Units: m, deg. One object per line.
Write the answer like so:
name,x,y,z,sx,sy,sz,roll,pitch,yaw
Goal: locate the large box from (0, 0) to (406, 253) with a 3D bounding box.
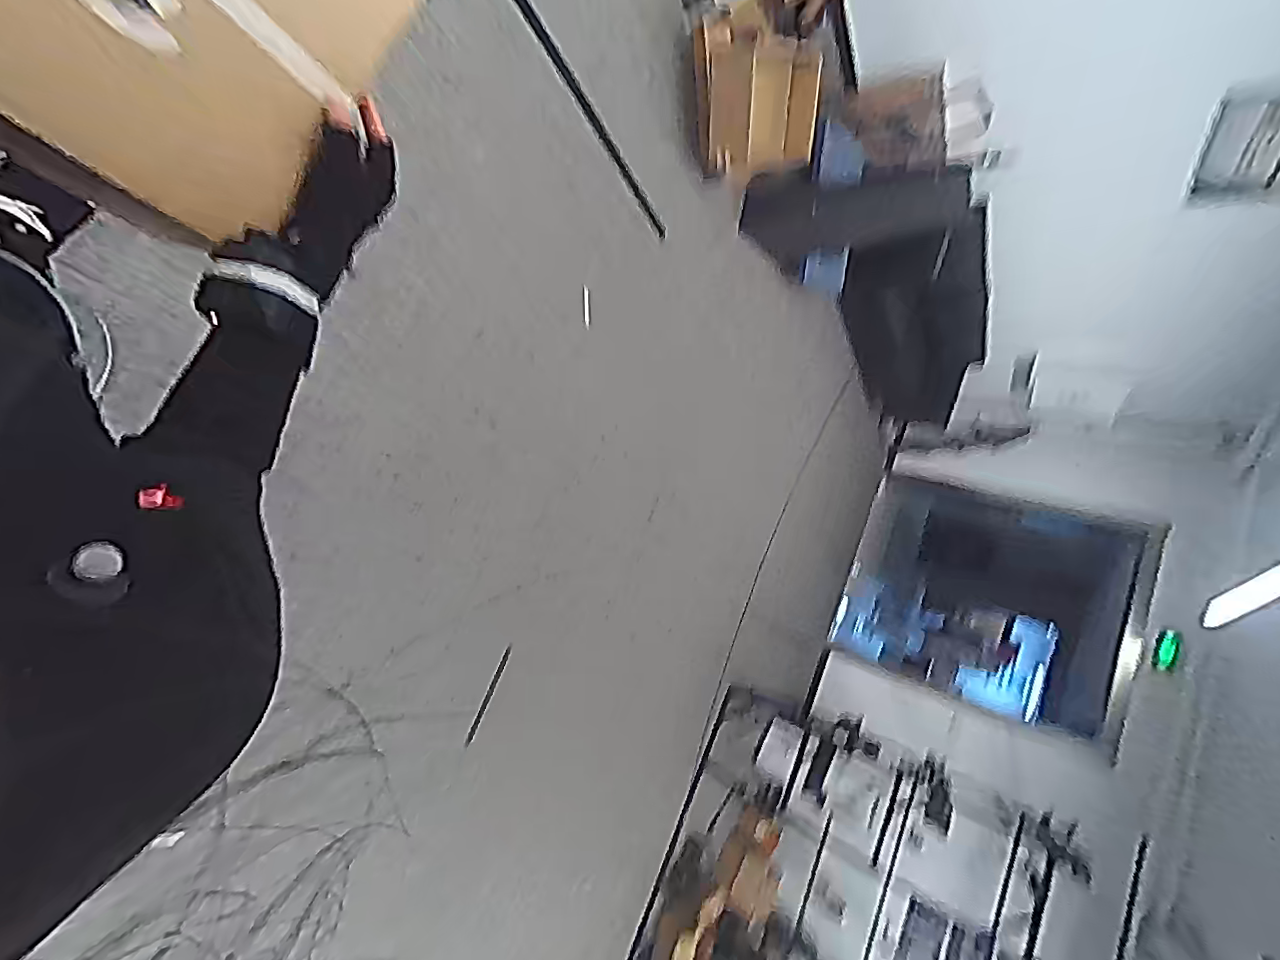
large box,-0.469,-0.433,0.390,0.408,0.320,0.320,33,82,-57
